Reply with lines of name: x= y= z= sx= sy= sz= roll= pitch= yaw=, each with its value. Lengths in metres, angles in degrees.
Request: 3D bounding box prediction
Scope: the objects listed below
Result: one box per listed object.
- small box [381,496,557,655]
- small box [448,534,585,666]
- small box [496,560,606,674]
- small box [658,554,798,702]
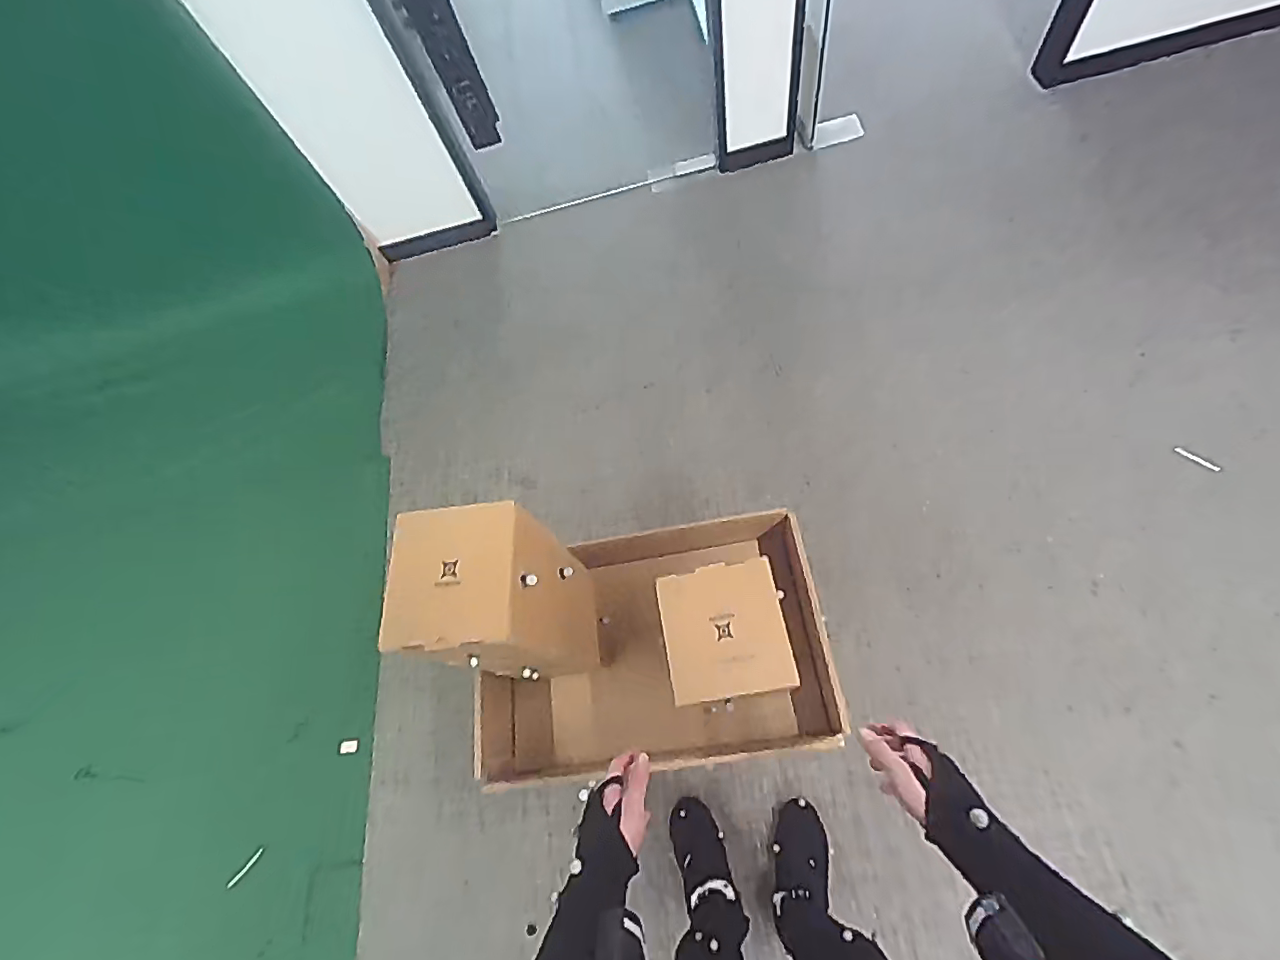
small box: x=-0.216 y=0.137 z=0.735 sx=0.168 sy=0.176 sz=0.179 roll=-6 pitch=67 yaw=8
small box: x=-0.191 y=0.201 z=0.882 sx=0.168 sy=0.176 sz=0.179 roll=-7 pitch=66 yaw=9
small box: x=-0.164 y=0.266 z=1.029 sx=0.168 sy=0.176 sz=0.179 roll=-8 pitch=65 yaw=7
small box: x=0.127 y=0.228 z=0.807 sx=0.168 sy=0.176 sz=0.179 roll=-12 pitch=66 yaw=7
